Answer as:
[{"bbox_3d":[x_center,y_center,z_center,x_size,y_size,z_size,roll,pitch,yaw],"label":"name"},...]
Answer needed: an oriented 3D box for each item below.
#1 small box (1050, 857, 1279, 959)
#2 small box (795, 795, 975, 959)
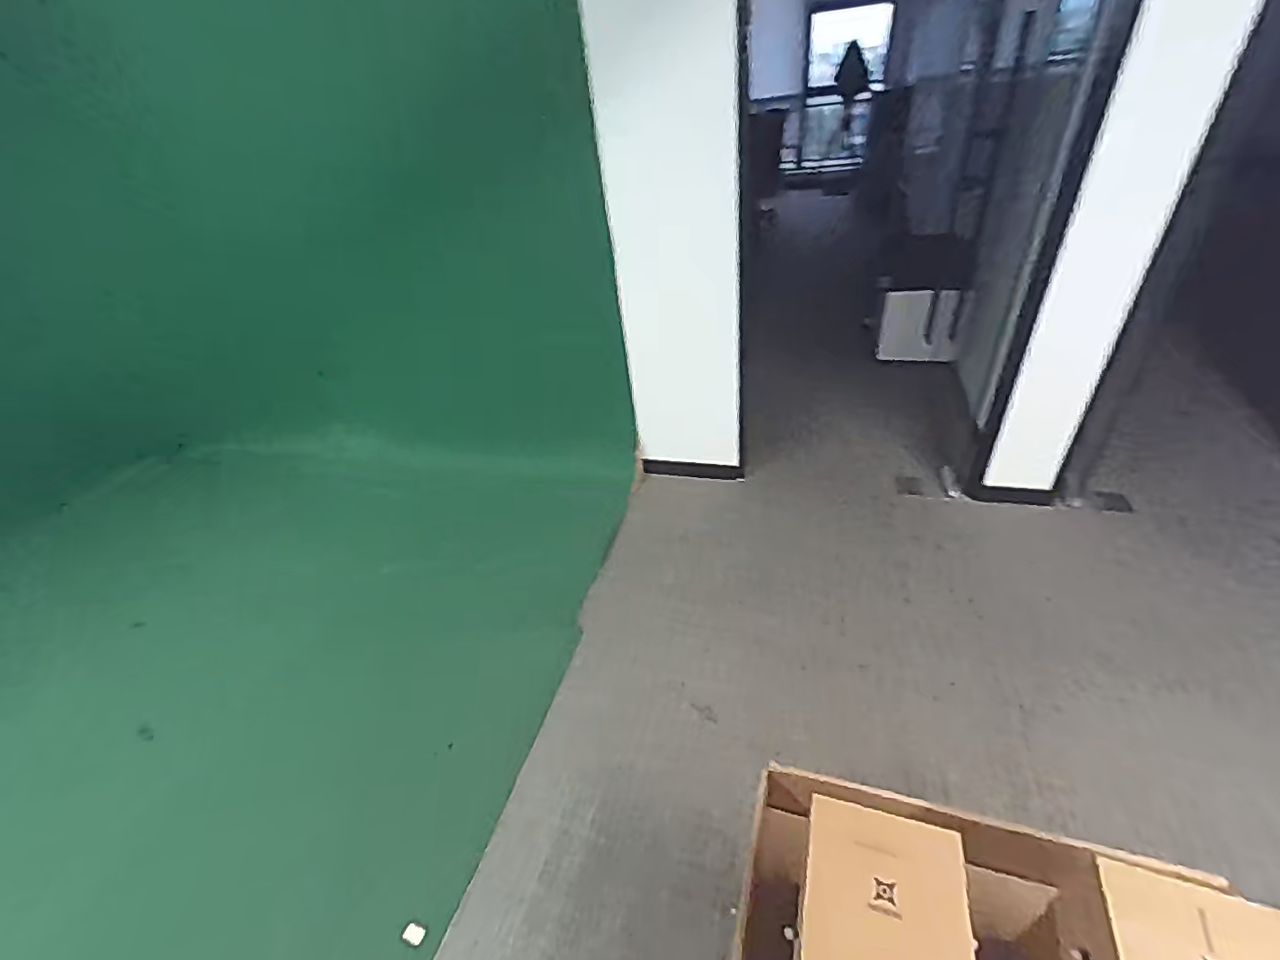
[{"bbox_3d":[0.553,0.540,0.551,0.168,0.176,0.179,8,39,21],"label":"small box"},{"bbox_3d":[0.277,0.517,0.634,0.168,0.176,0.179,7,39,19],"label":"small box"}]
